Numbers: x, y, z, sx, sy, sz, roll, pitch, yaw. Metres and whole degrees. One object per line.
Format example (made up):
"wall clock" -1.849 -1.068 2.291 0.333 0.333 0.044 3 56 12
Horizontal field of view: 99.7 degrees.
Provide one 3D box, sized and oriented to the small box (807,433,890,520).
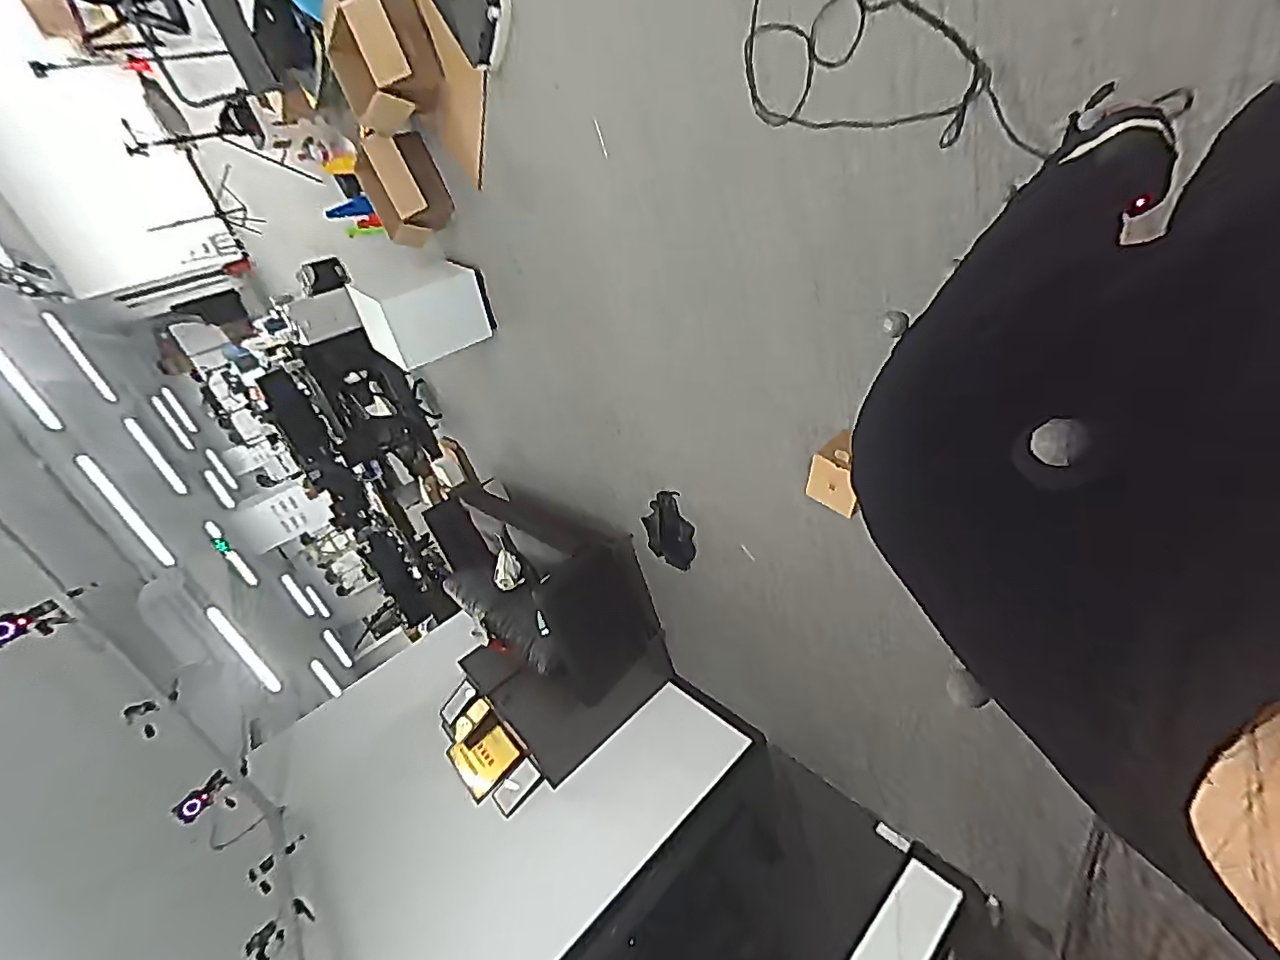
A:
"small box" 0.650 -0.015 1.685 0.168 0.176 0.179 36 145 35
